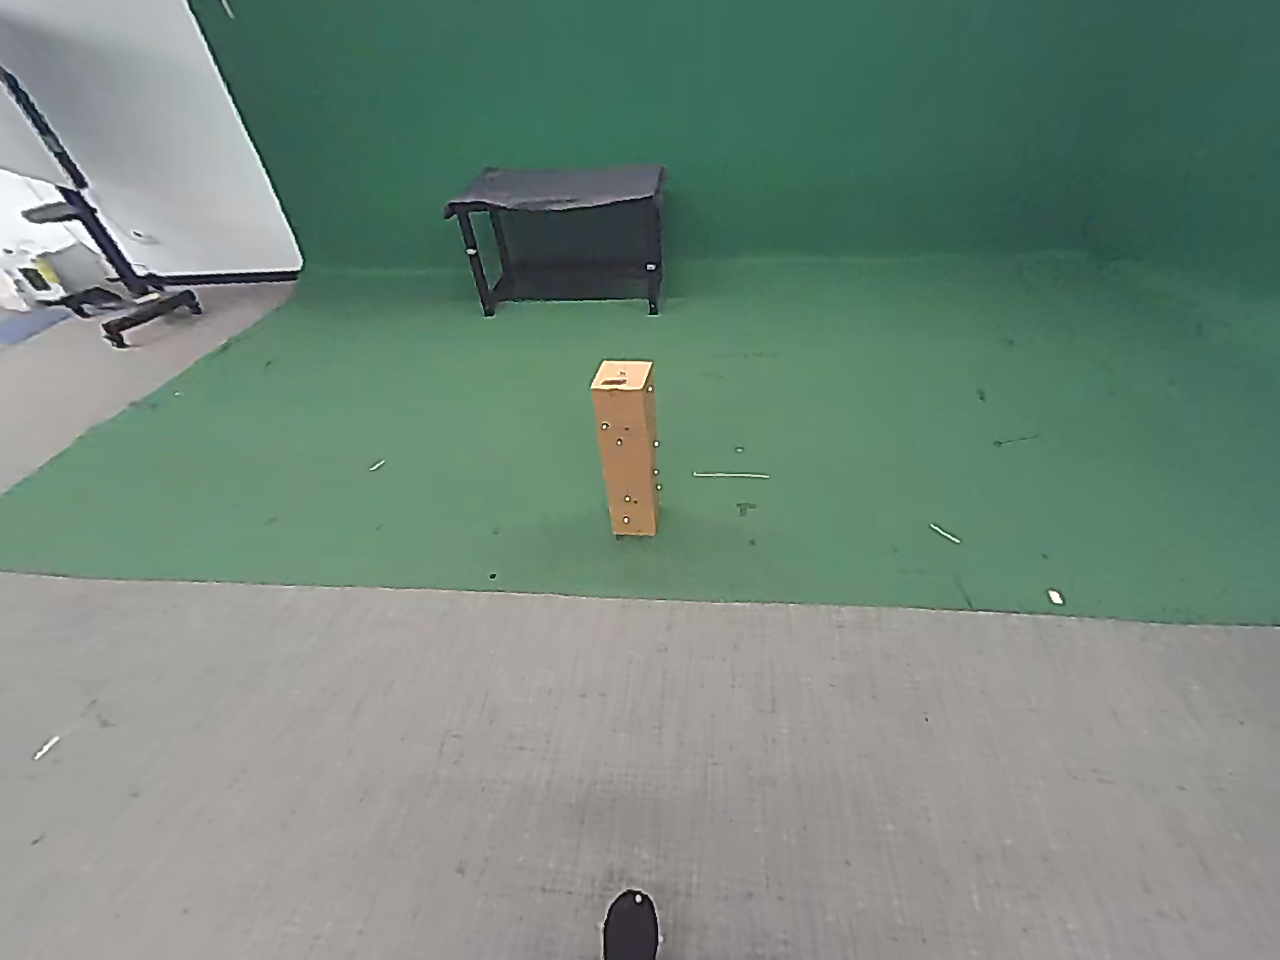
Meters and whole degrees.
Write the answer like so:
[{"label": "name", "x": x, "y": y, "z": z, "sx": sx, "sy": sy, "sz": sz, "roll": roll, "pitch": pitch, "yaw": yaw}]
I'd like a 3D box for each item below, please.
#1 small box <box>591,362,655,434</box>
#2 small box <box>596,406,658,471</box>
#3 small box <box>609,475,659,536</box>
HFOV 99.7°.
[{"label": "small box", "x": -0.047, "y": -0.261, "z": 1.732, "sx": 0.168, "sy": 0.176, "sz": 0.179, "roll": 4, "pitch": 41, "yaw": 12}, {"label": "small box", "x": -0.038, "y": -0.145, "z": 1.848, "sx": 0.179, "sy": 0.176, "sz": 0.168, "roll": 3, "pitch": 42, "yaw": 10}, {"label": "small box", "x": -0.017, "y": 0.099, "z": 2.067, "sx": 0.168, "sy": 0.176, "sz": 0.179, "roll": 1, "pitch": 41, "yaw": 8}]
